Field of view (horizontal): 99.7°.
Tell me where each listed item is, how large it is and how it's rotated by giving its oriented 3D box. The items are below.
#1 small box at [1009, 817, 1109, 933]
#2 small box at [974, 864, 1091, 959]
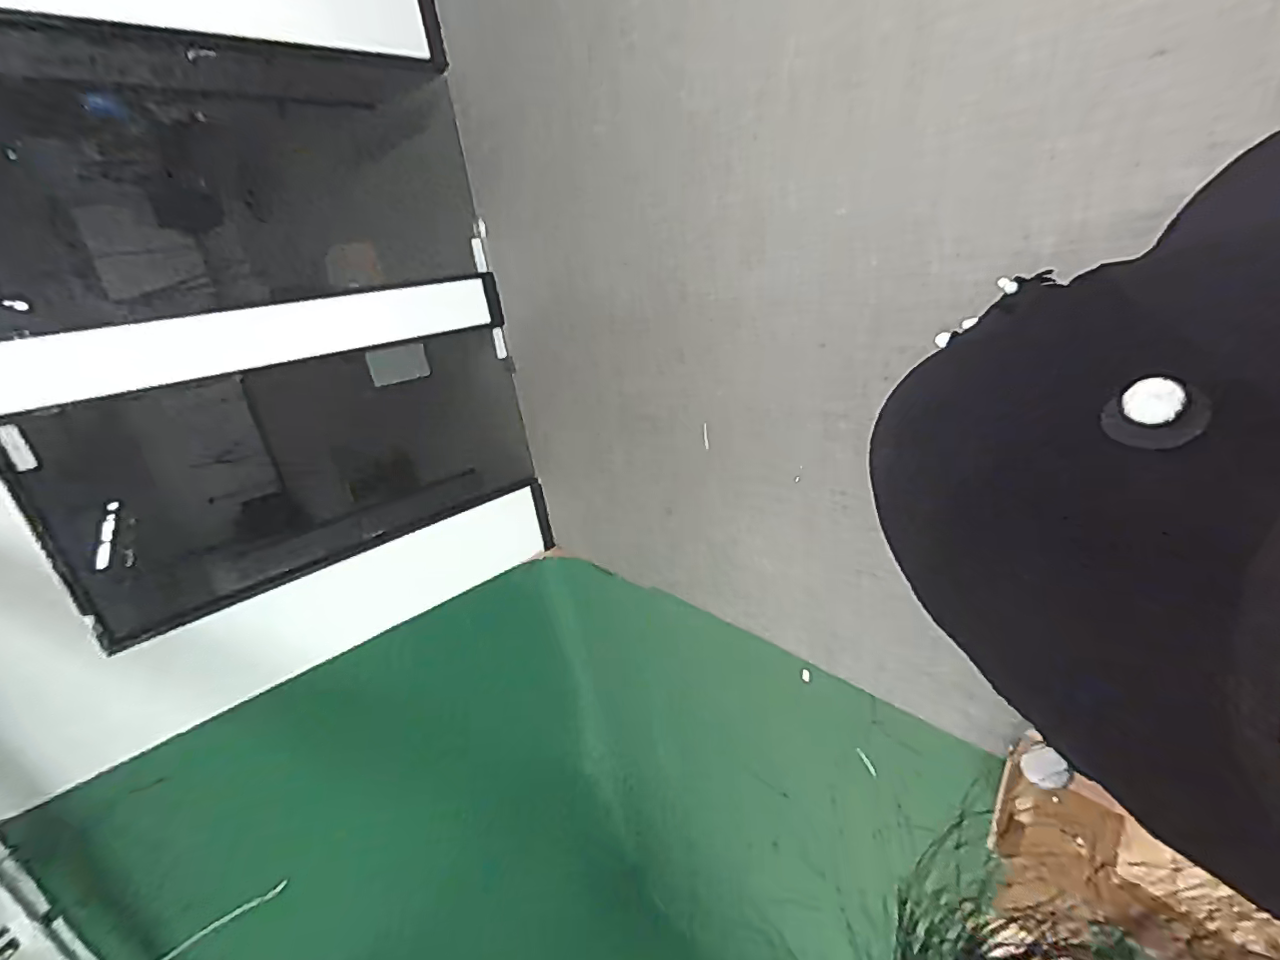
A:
[{"bbox_3d":[0.995,0.974,1.303,0.168,0.176,0.179,20,122,44],"label":"small box"},{"bbox_3d":[0.873,1.024,1.204,0.168,0.176,0.179,17,121,46],"label":"small box"}]
